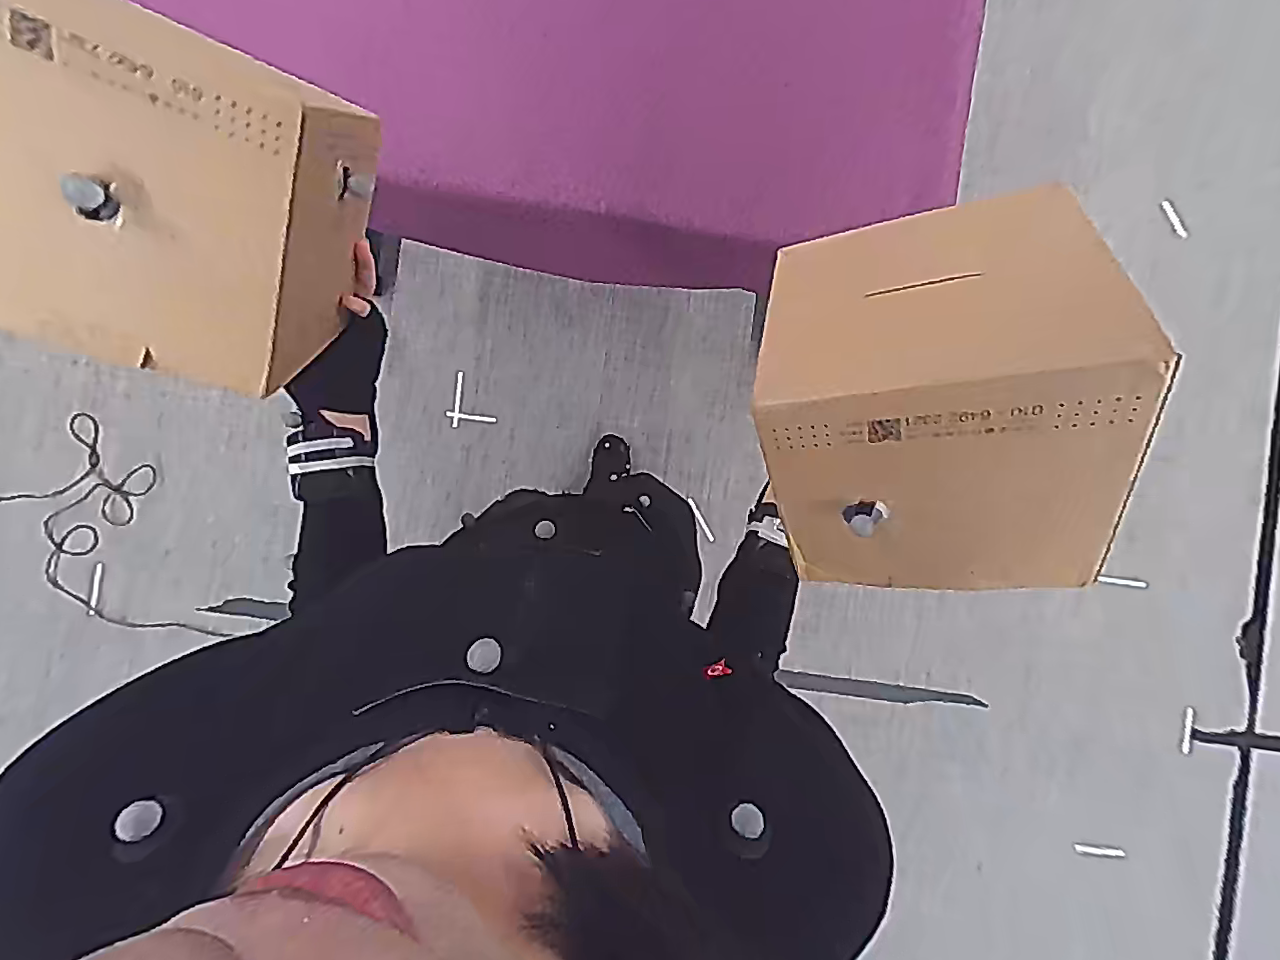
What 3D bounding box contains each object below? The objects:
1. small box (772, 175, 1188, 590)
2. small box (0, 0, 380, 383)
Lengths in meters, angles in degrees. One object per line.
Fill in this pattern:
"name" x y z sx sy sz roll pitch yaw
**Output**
"small box" 0.181 -0.052 0.332 0.168 0.176 0.179 -3 46 23
"small box" -0.276 -0.185 0.327 0.168 0.179 0.176 17 114 -20
